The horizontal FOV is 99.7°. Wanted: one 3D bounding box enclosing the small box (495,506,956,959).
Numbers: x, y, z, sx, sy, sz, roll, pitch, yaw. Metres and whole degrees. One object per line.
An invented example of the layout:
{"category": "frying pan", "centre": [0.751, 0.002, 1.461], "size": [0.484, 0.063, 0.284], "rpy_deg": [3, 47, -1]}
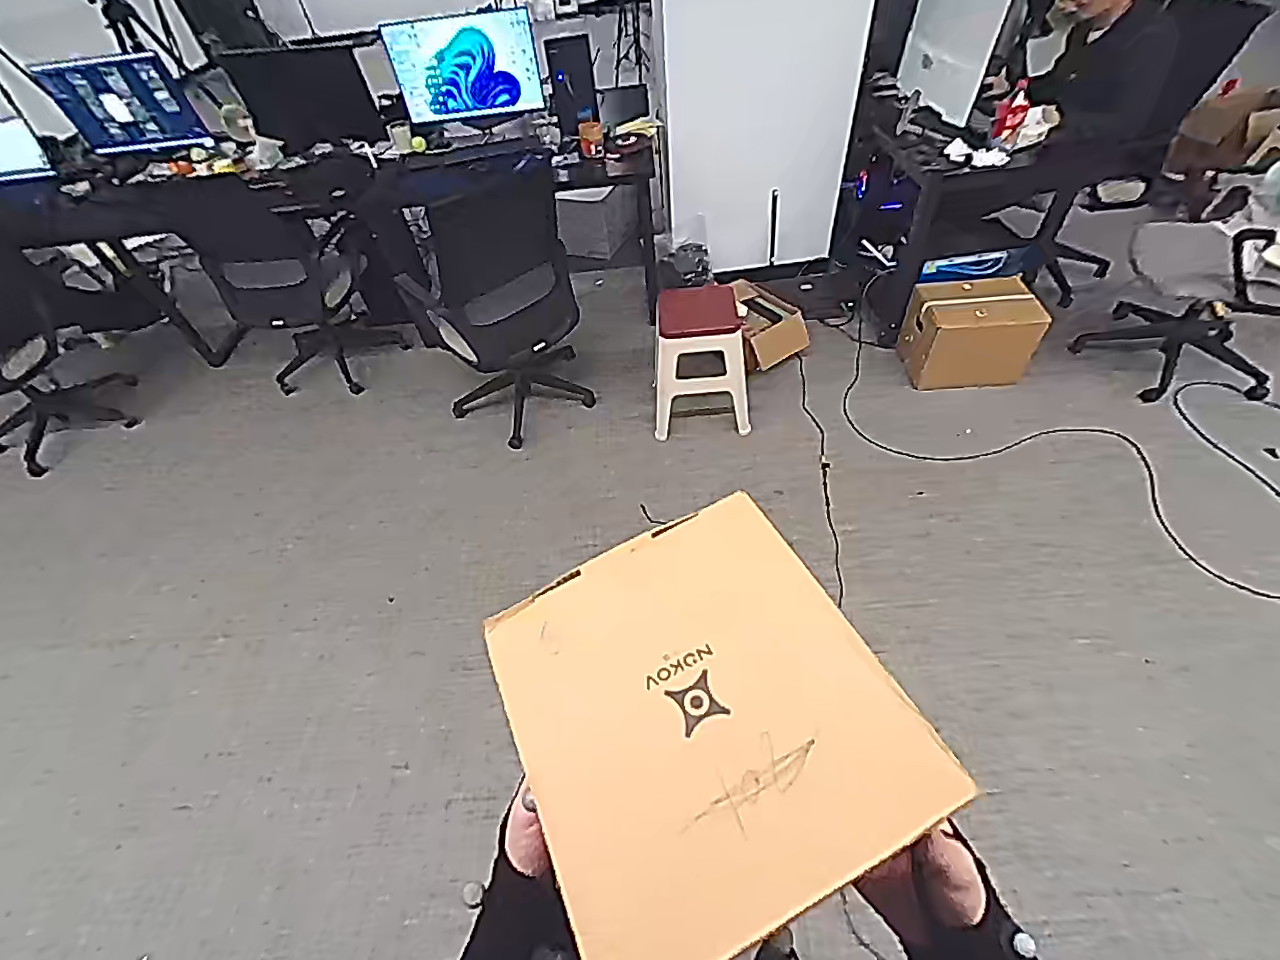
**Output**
{"category": "small box", "centre": [0.037, 0.154, 0.327], "size": [0.168, 0.176, 0.179], "rpy_deg": [-26, 54, -9]}
